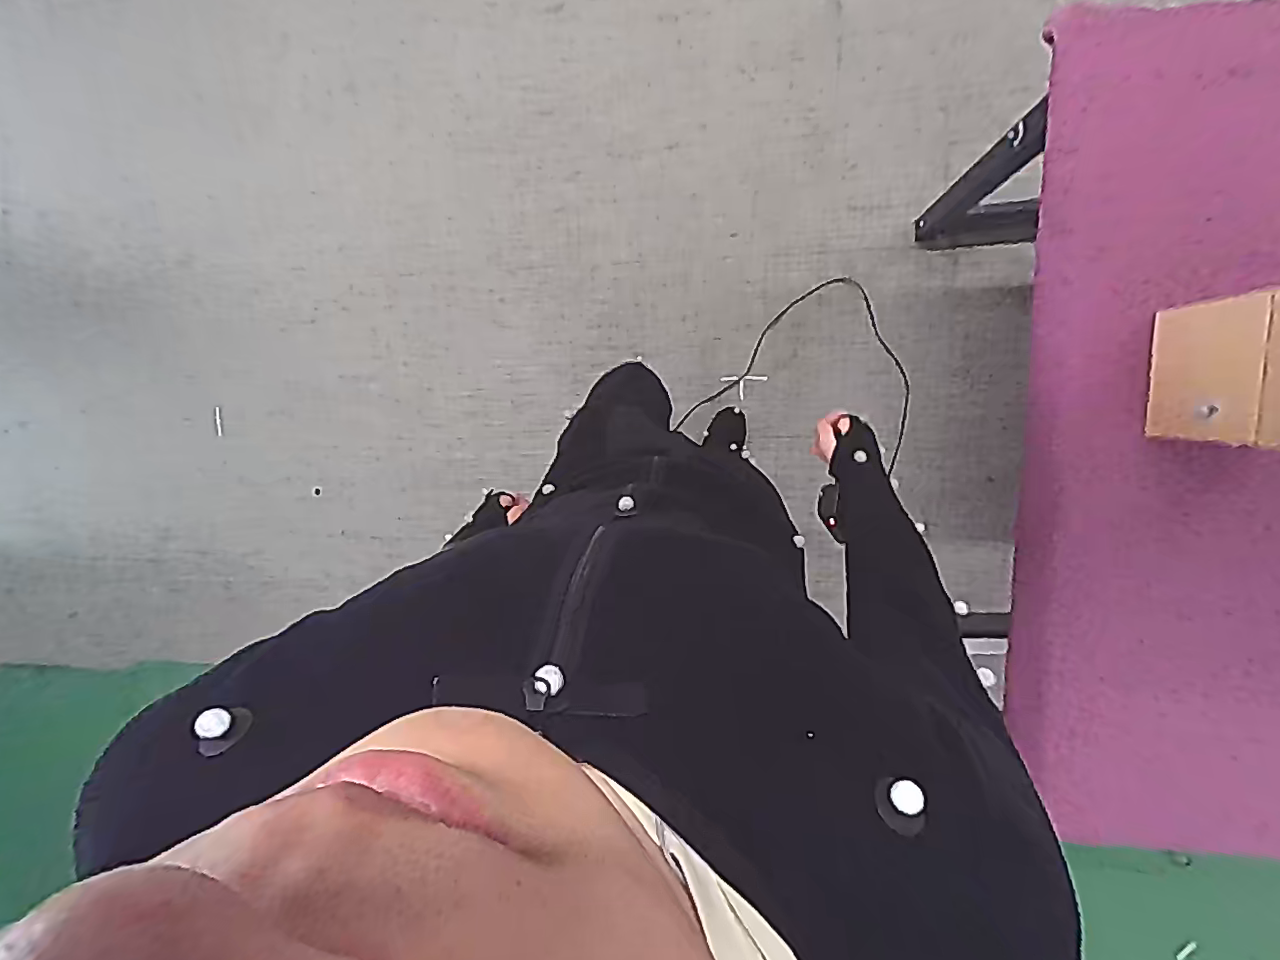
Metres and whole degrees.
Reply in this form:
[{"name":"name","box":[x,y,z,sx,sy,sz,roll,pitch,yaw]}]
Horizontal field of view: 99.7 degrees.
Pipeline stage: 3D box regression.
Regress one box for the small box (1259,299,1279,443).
[{"name":"small box","box":[0.769,-0.108,0.517,0.168,0.176,0.179,-1,98,8]}]
